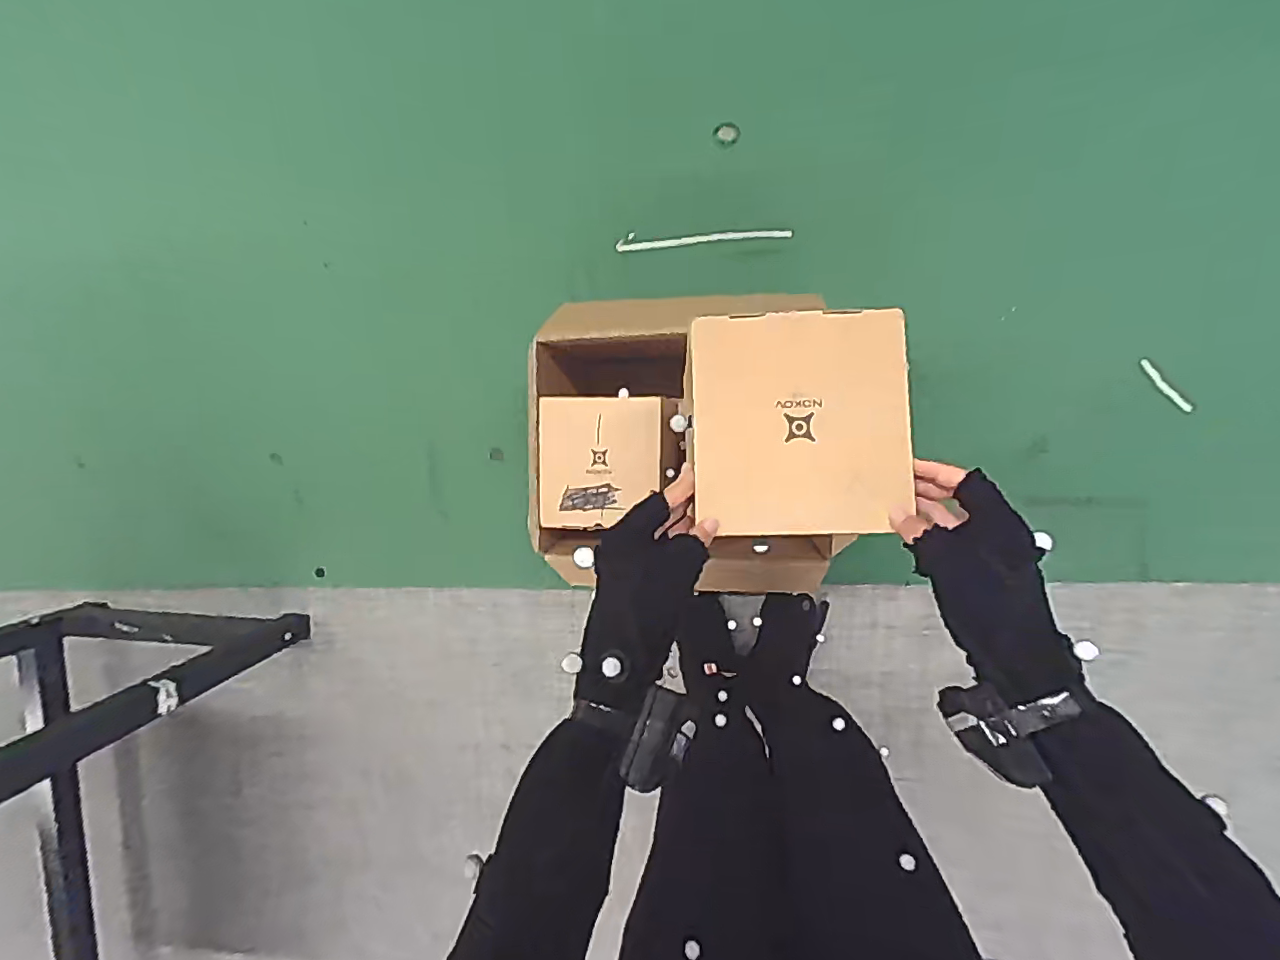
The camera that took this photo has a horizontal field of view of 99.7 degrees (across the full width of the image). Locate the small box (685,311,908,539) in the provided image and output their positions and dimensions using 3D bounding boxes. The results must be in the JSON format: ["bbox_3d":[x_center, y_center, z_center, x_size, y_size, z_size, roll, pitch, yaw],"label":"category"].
[{"bbox_3d":[0.126,-0.037,0.496,0.168,0.176,0.179,-1,84,4],"label":"small box"}]
